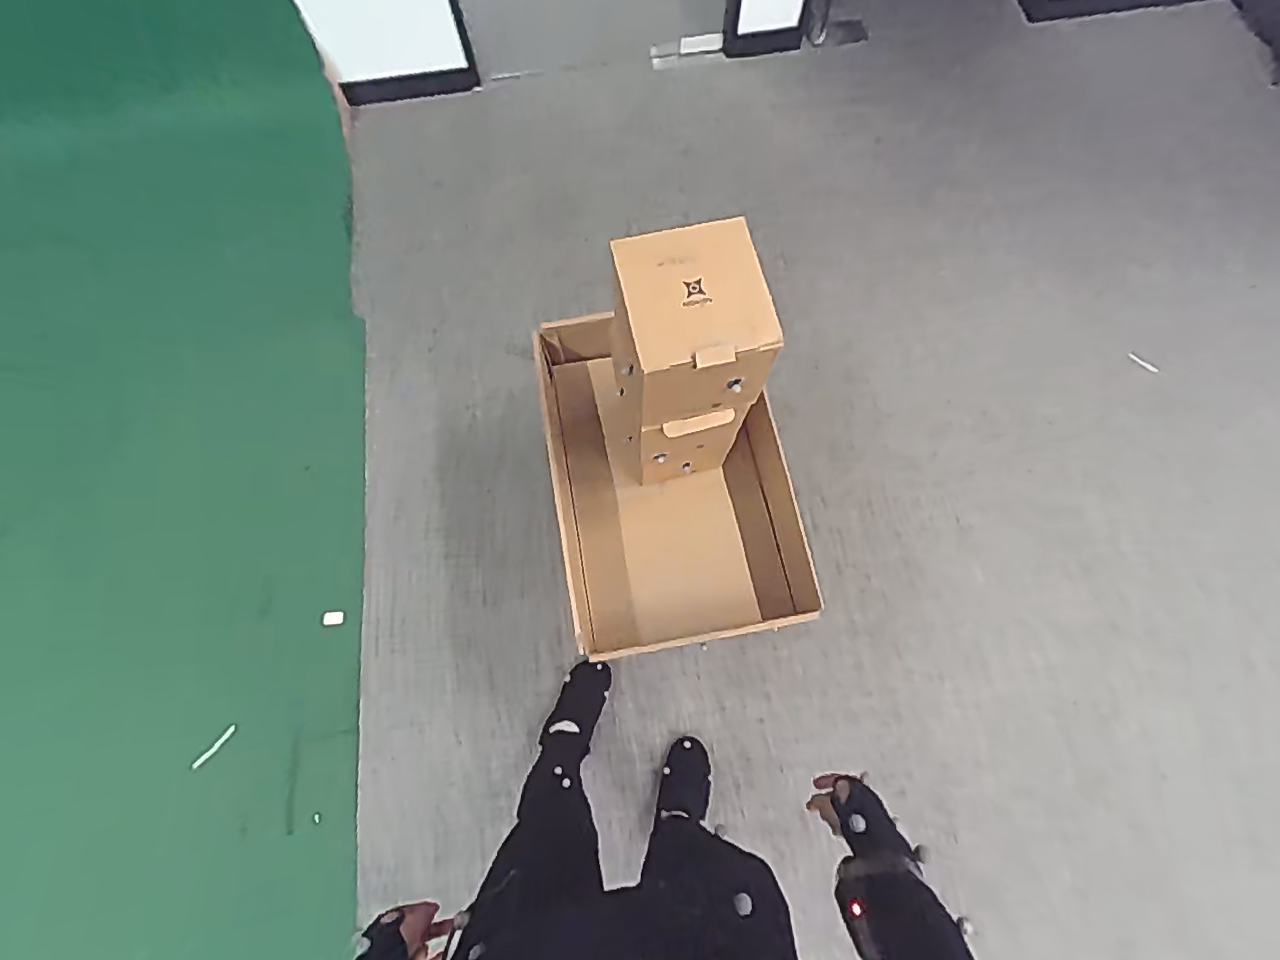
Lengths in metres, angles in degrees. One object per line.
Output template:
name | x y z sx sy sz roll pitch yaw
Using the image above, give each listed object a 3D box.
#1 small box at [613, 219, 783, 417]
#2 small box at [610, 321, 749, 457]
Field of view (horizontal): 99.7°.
small box | 0.064 -0.193 0.693 0.168 0.176 0.179 -12 75 -4
small box | 0.056 -0.148 0.849 0.168 0.176 0.179 -15 75 -4
